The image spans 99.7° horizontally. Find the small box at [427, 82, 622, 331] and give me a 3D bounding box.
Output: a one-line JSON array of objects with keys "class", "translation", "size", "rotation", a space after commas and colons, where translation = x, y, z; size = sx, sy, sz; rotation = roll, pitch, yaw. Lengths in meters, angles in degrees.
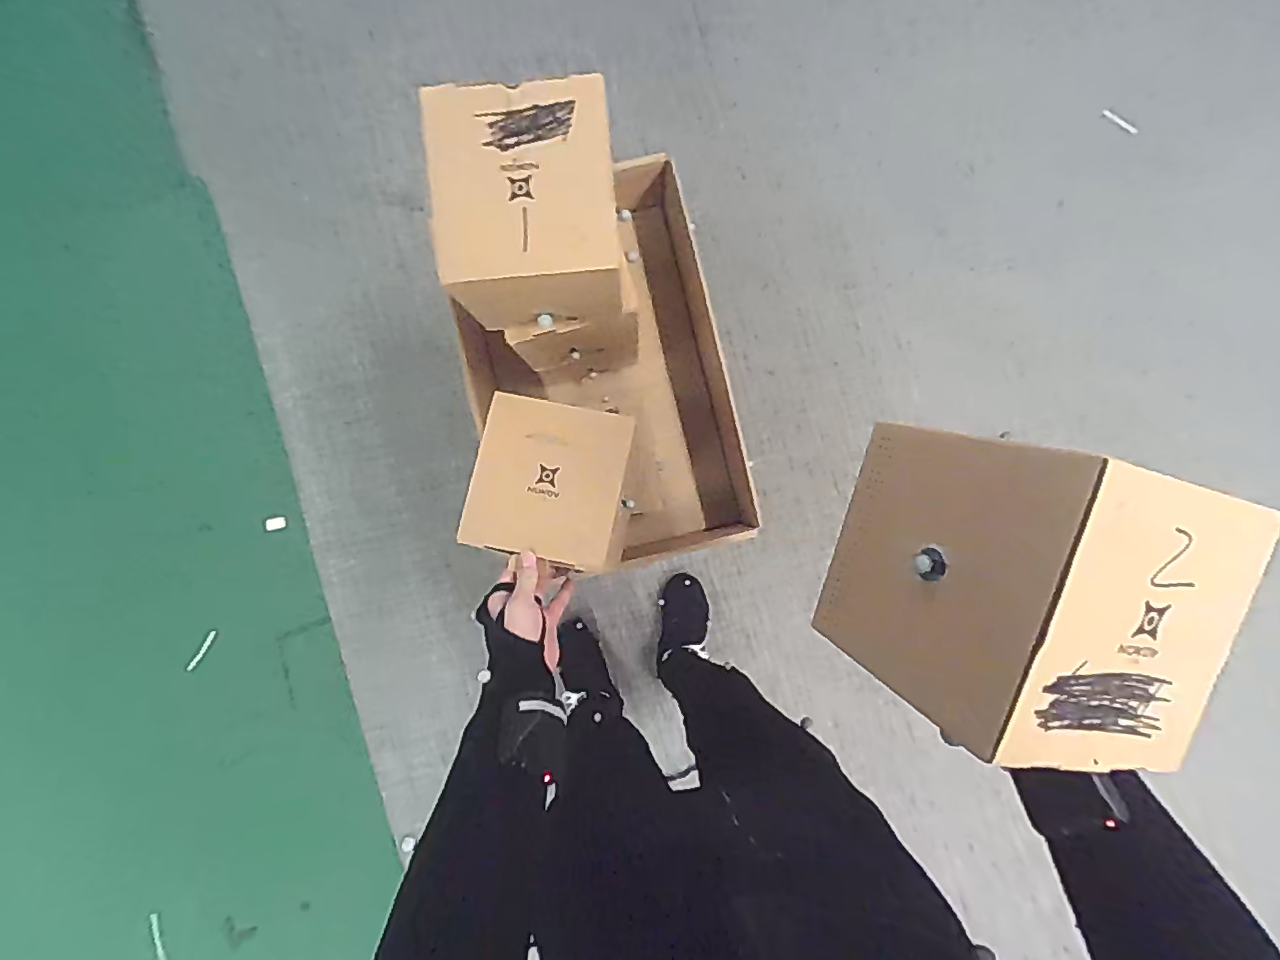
[{"class": "small box", "translation": [-0.107, -0.269, 0.568], "size": [0.168, 0.176, 0.179], "rotation": [-5, 92, -1]}]

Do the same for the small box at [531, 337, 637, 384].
[{"class": "small box", "translation": [-0.104, -0.273, 0.894], "size": [0.168, 0.176, 0.179], "rotation": [-14, 91, 0]}]

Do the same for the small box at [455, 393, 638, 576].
[{"class": "small box", "translation": [-0.100, 0.014, 0.668], "size": [0.168, 0.176, 0.179], "rotation": [12, 82, 5]}]

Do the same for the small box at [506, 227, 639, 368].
[{"class": "small box", "translation": [-0.103, -0.268, 0.732], "size": [0.168, 0.176, 0.179], "rotation": [-15, 91, -1]}]
